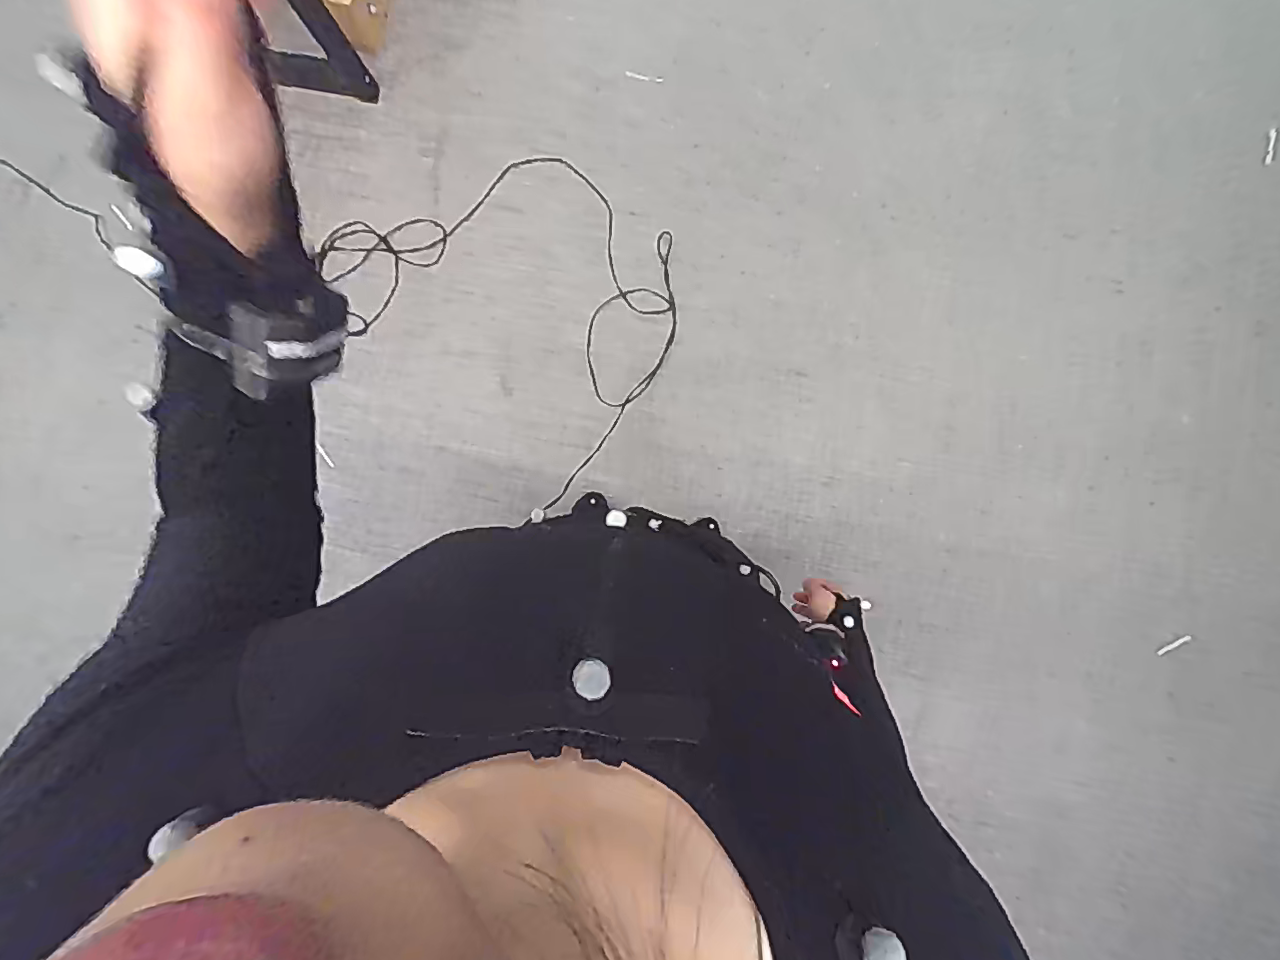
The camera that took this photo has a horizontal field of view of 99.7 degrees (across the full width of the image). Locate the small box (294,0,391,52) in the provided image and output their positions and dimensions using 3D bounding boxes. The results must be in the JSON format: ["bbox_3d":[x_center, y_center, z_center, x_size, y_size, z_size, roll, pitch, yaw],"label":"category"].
[{"bbox_3d":[-0.811,-1.321,1.472,0.179,0.176,0.168,15,89,1],"label":"small box"}]
